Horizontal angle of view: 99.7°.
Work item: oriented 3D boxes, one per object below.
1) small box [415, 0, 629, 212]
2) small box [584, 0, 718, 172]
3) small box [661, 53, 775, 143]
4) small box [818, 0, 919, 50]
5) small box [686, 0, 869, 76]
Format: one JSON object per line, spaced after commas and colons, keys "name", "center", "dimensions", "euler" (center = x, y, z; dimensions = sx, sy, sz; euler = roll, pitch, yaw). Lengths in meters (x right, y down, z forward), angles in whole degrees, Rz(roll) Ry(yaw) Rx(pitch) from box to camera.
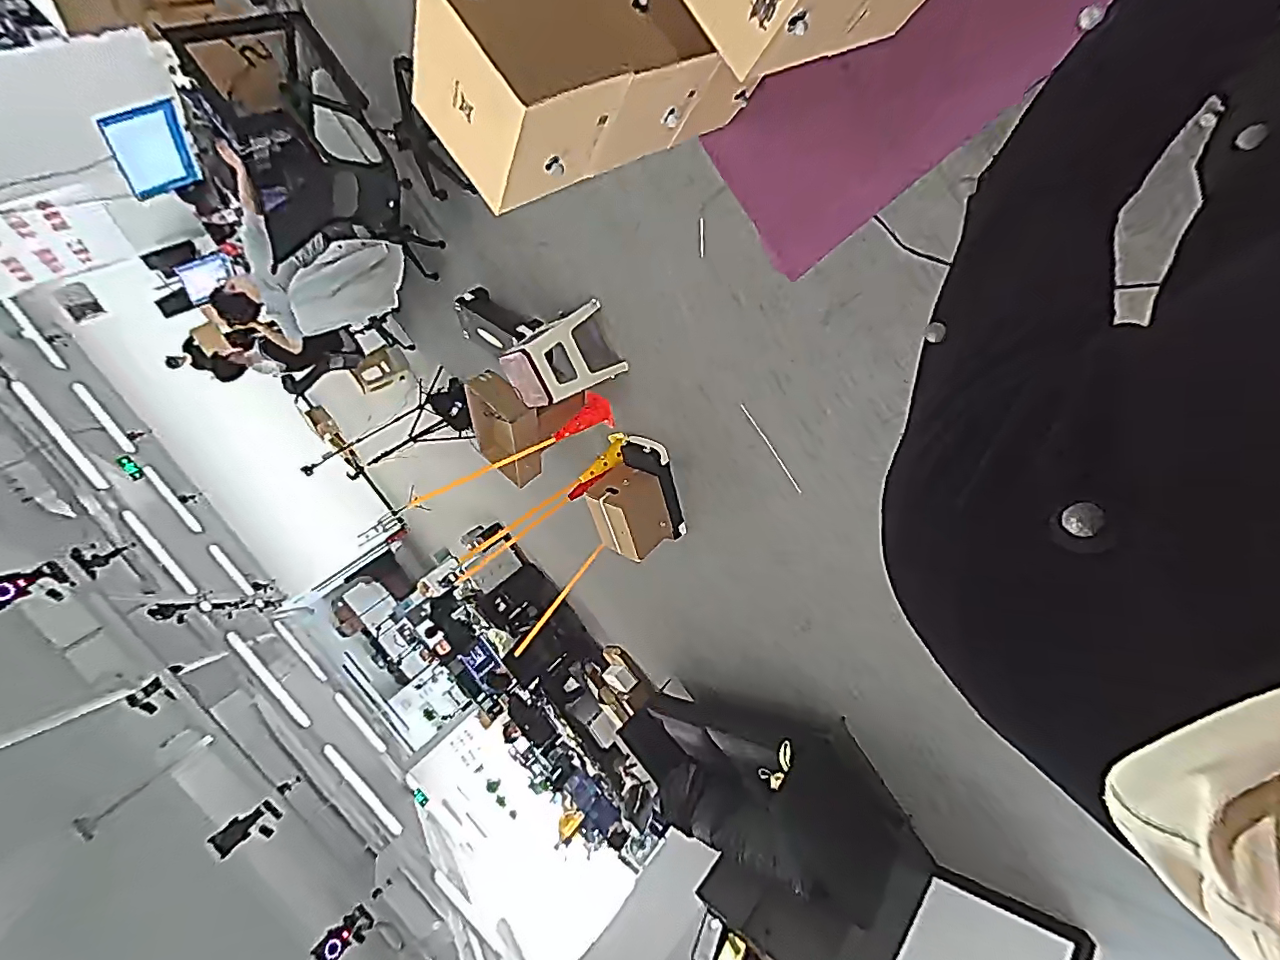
{"name": "small box", "center": [-0.142, -0.471, 0.648], "dimensions": [0.179, 0.176, 0.168], "euler": [53, 152, -4]}
{"name": "small box", "center": [-0.031, -0.563, 0.724], "dimensions": [0.179, 0.176, 0.168], "euler": [52, 152, -5]}
{"name": "small box", "center": [0.080, -0.653, 0.803], "dimensions": [0.179, 0.176, 0.168], "euler": [53, 152, -5]}
{"name": "small box", "center": [0.255, -0.624, 0.586], "dimensions": [0.179, 0.176, 0.168], "euler": [54, 152, -6]}
{"name": "small box", "center": [0.142, -0.534, 0.507], "dimensions": [0.179, 0.176, 0.168], "euler": [54, 152, -5]}
